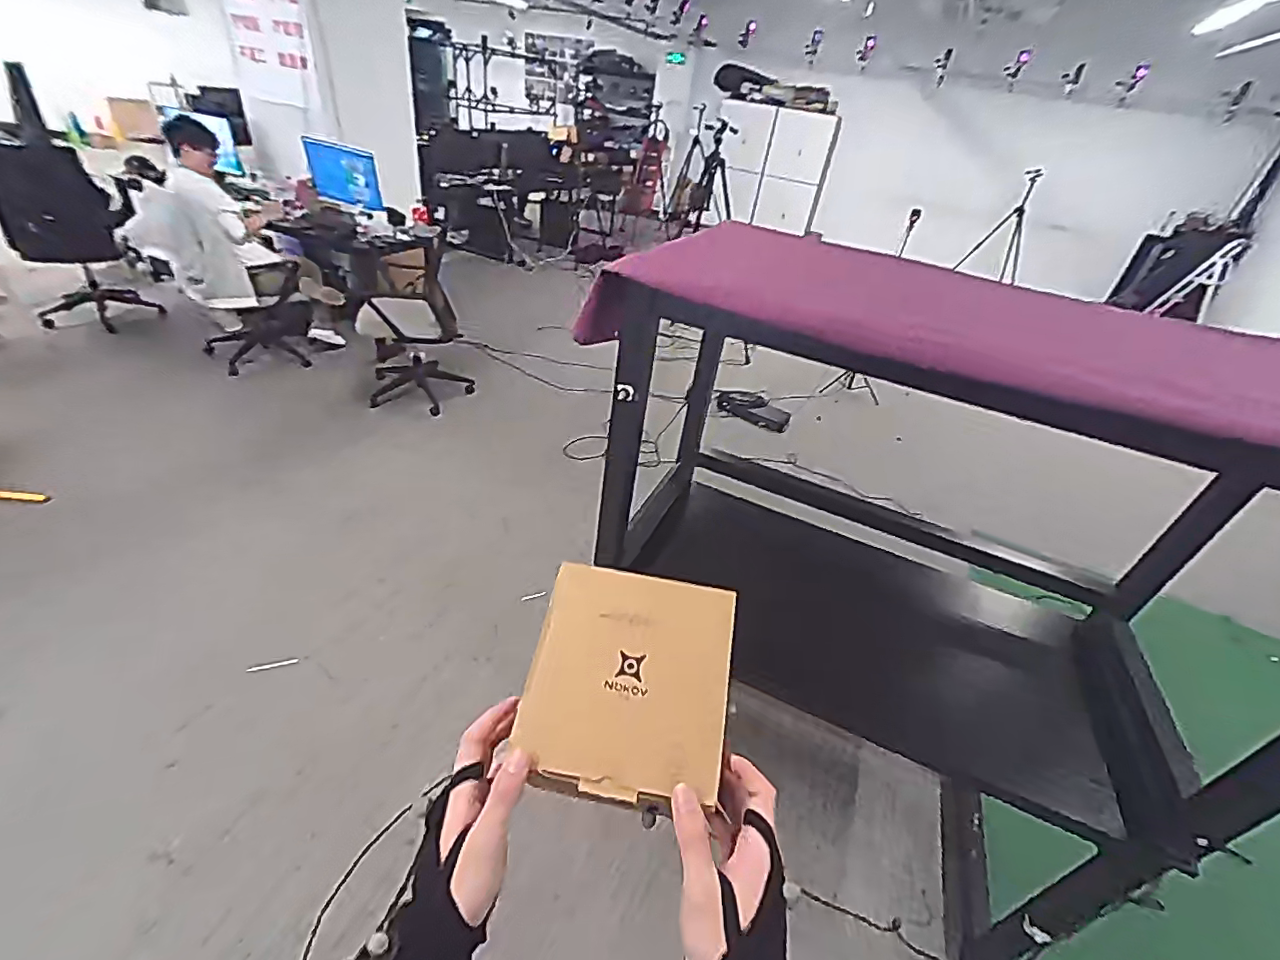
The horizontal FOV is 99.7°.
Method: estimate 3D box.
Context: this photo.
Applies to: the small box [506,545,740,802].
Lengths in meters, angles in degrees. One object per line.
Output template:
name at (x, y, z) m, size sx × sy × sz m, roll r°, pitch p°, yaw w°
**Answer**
small box at (-0.007, 0.189, 0.513) m, size 0.168 × 0.176 × 0.179 m, roll 10°, pitch 56°, yaw 5°
